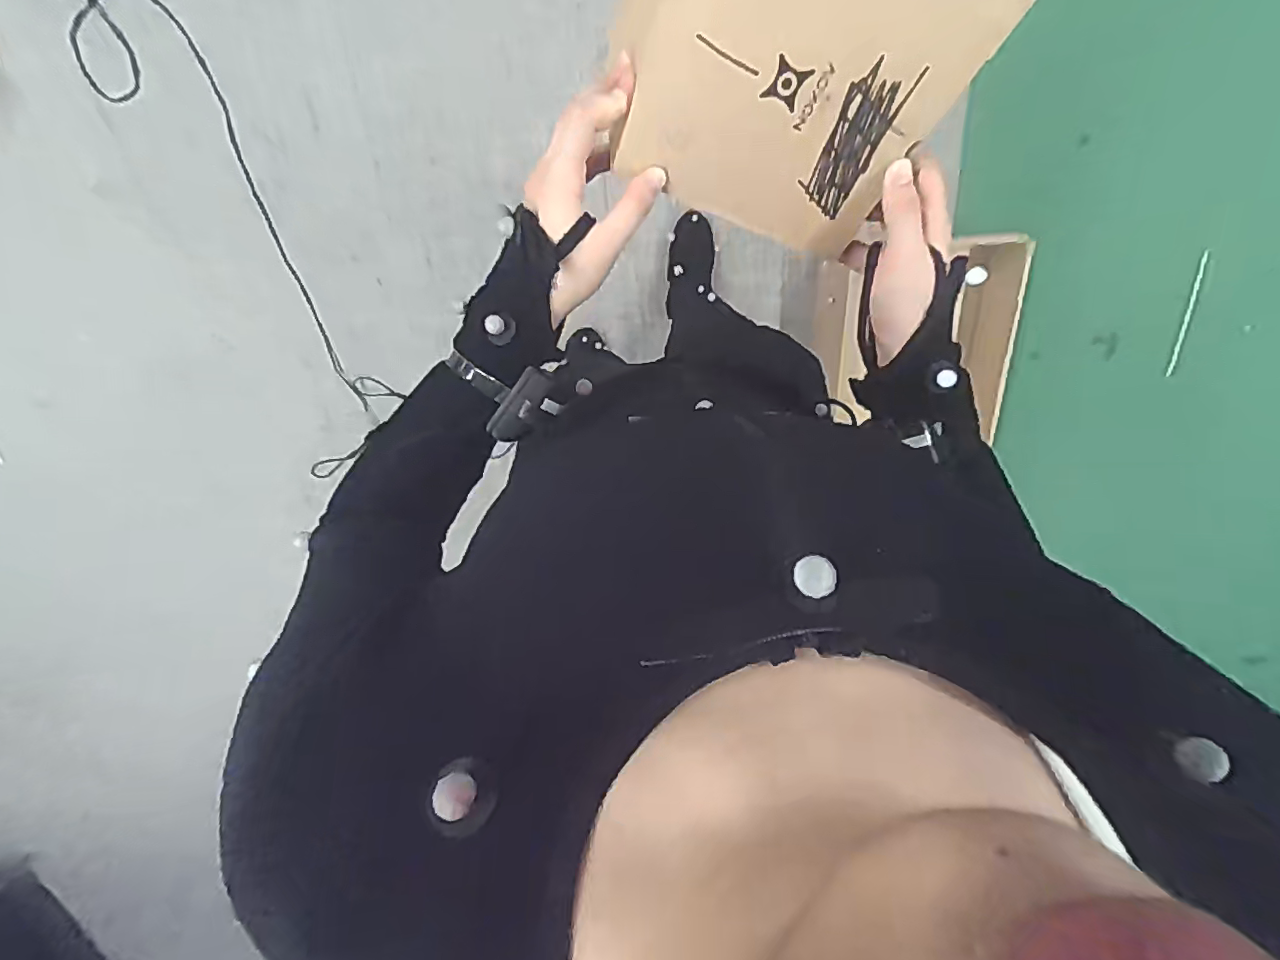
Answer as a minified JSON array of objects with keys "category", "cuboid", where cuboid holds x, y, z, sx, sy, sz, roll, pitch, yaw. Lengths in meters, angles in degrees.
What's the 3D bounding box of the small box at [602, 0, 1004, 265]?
[{"category":"small box","cuboid":[0.081,-0.283,0.360,0.179,0.176,0.168,11,143,-18]}]
